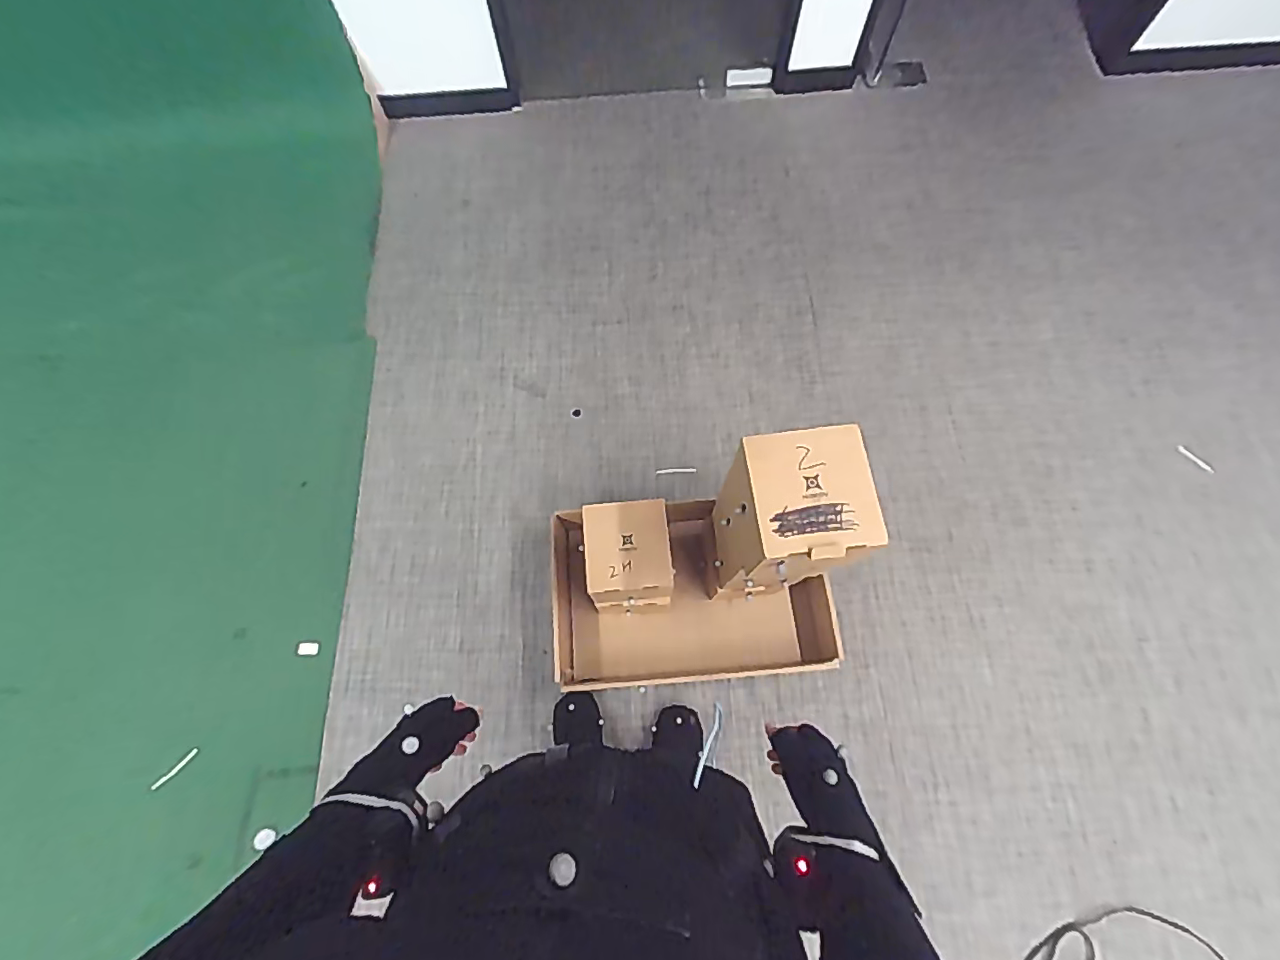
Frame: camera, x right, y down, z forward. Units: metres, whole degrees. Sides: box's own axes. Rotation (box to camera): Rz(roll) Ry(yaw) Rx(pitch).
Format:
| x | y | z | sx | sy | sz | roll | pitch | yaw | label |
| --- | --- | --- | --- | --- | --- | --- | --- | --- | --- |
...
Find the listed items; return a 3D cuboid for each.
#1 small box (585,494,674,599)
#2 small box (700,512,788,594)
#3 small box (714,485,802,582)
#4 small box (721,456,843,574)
| x | y | z | sx | sy | sz | roll | pitch | yaw | label |
| --- | --- | --- | --- | --- | --- | --- | --- | --- | --- |
| -0.023 | 0.141 | 1.116 | 0.168 | 0.176 | 0.179 | -5 | 71 | -1 | small box |
| 0.239 | 0.170 | 1.276 | 0.168 | 0.176 | 0.179 | -9 | 71 | 0 | small box |
| 0.247 | 0.110 | 1.104 | 0.168 | 0.176 | 0.179 | -5 | 72 | 1 | small box |
| 0.241 | 0.071 | 0.963 | 0.168 | 0.176 | 0.179 | -4 | 72 | 0 | small box |
